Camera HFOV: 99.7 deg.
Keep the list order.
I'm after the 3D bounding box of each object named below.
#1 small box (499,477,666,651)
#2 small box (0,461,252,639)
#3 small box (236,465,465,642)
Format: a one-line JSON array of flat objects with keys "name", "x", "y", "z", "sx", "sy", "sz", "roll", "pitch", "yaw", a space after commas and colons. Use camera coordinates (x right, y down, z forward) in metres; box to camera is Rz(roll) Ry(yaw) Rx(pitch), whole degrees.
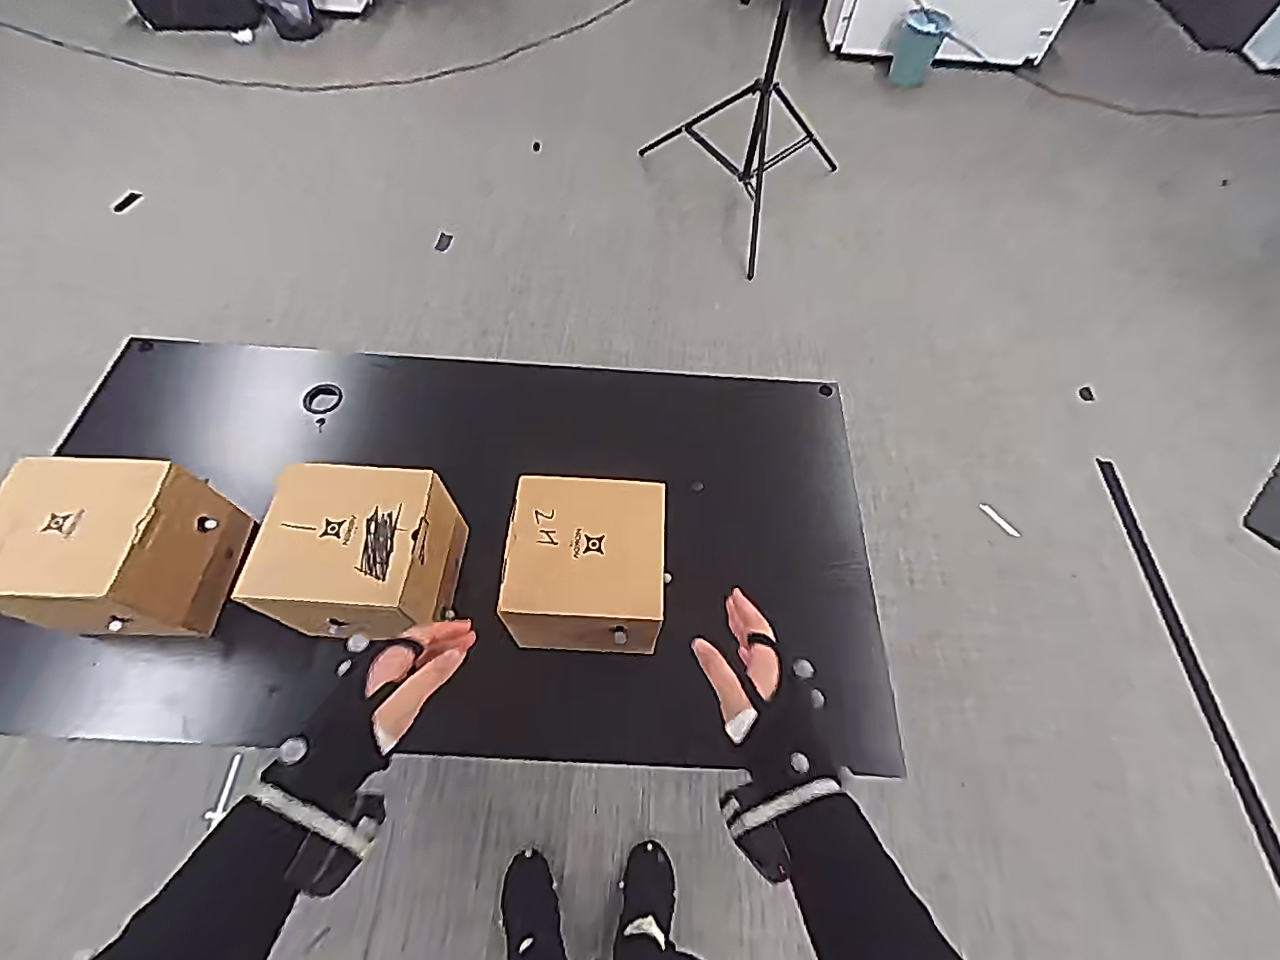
[{"name": "small box", "x": -0.063, "y": 0.112, "z": 0.675, "sx": 0.179, "sy": 0.176, "sz": 0.168, "roll": 3, "pitch": 60, "yaw": -1}, {"name": "small box", "x": -0.628, "y": 0.091, "z": 0.660, "sx": 0.179, "sy": 0.176, "sz": 0.168, "roll": 1, "pitch": 60, "yaw": -2}, {"name": "small box", "x": -0.333, "y": 0.098, "z": 0.670, "sx": 0.179, "sy": 0.176, "sz": 0.168, "roll": 3, "pitch": 61, "yaw": 0}]
